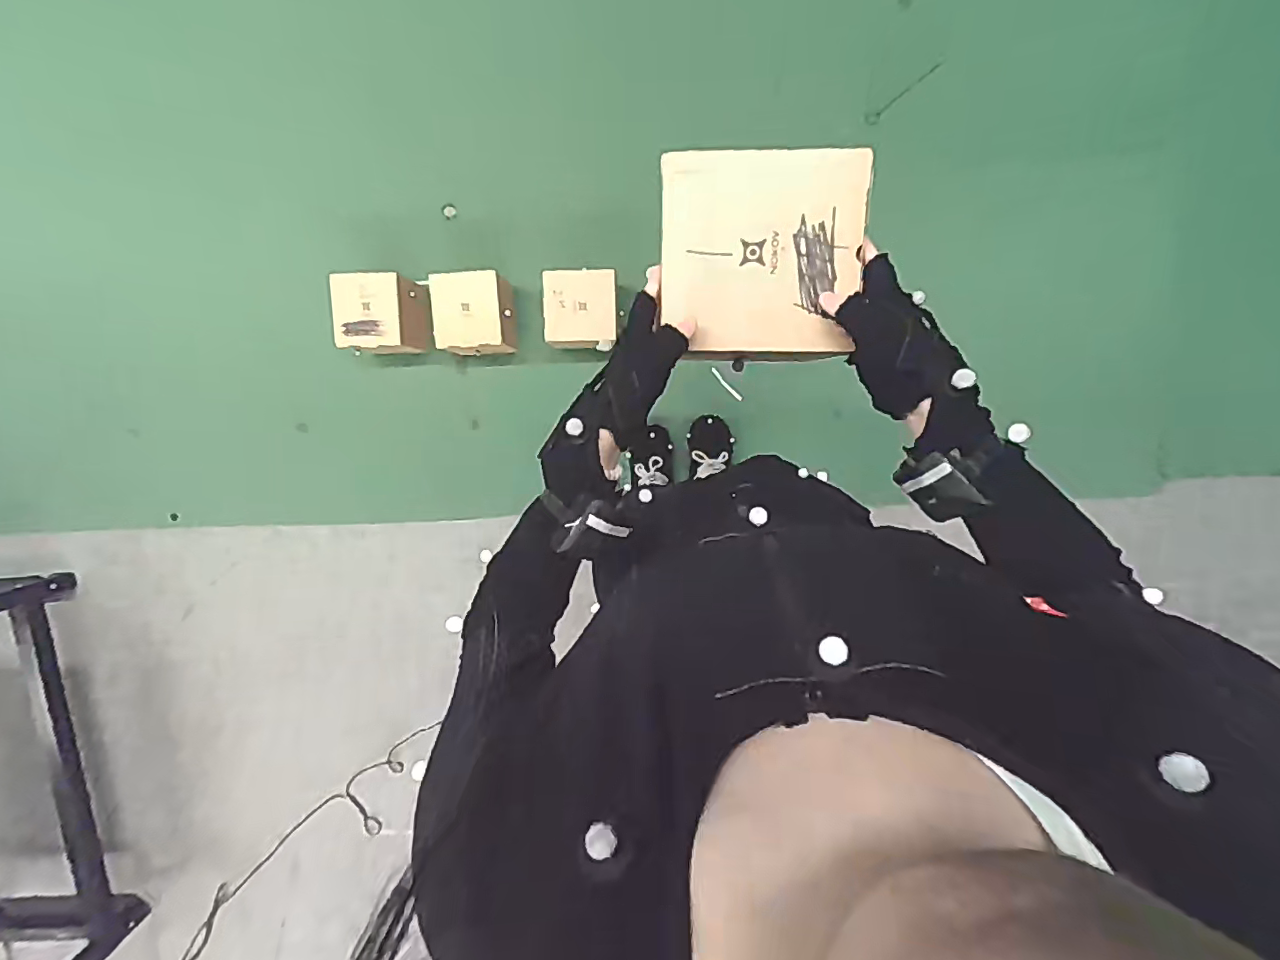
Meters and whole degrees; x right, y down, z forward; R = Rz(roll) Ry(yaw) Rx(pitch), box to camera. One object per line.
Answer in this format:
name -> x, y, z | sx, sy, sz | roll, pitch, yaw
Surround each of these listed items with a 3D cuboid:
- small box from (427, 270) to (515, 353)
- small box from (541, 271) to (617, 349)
small box -> -0.422, -0.423, 1.377 | 0.168, 0.176, 0.179 | -3, 98, 2
small box -> -0.147, -0.425, 1.367 | 0.179, 0.176, 0.168 | 0, 98, 1
